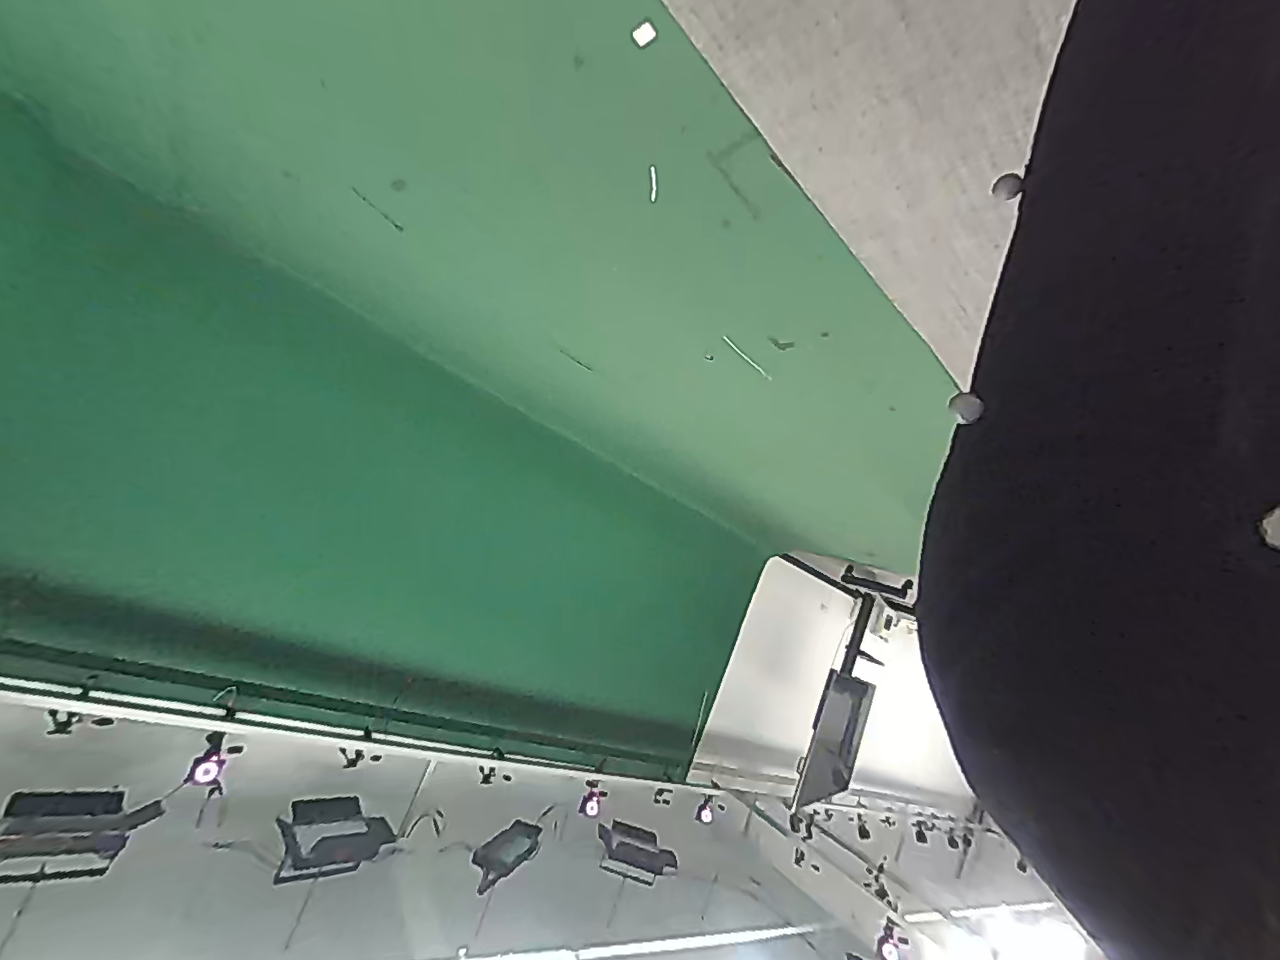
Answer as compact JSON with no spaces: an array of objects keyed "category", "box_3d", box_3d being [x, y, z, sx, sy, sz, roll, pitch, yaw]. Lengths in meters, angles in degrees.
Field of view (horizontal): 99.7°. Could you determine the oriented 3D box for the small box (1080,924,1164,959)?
[{"category":"small box","box_3d":[1.536,1.553,1.716,0.168,0.176,0.179,31,166,-29]}]
